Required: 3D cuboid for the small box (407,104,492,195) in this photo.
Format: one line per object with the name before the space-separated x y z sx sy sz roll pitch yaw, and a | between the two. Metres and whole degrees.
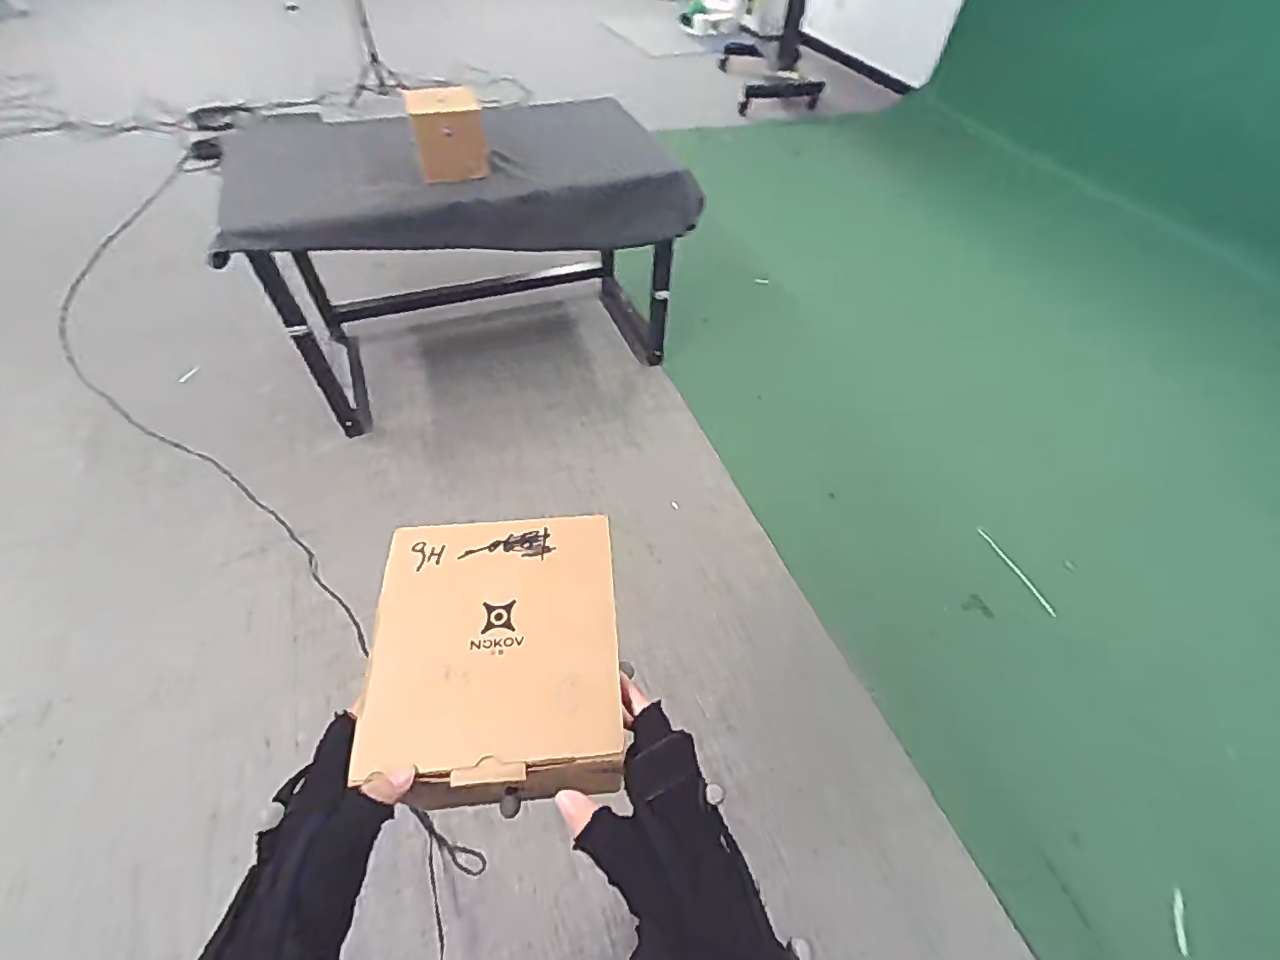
small box | -0.515 -0.896 1.471 0.179 0.176 0.168 -14 54 -16
